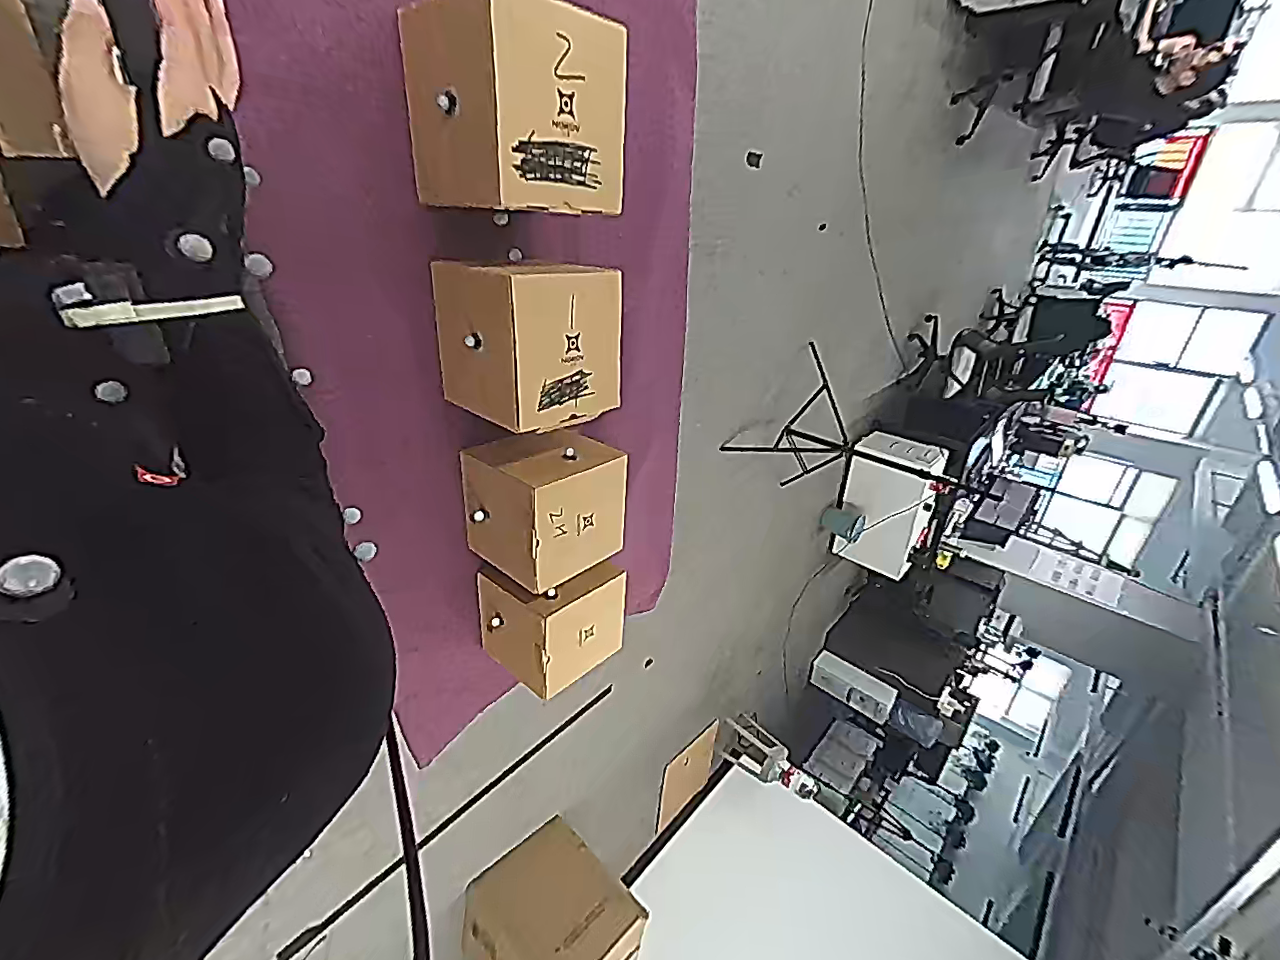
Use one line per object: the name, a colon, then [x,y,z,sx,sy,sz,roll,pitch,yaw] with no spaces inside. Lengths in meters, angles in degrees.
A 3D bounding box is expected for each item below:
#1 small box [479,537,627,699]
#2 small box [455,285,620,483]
small box: [-0.145,0.217,0.906,0.179,0.176,0.168,-22,126,-44]
small box: [-0.129,-0.127,0.712,0.168,0.176,0.179,-15,127,2]
